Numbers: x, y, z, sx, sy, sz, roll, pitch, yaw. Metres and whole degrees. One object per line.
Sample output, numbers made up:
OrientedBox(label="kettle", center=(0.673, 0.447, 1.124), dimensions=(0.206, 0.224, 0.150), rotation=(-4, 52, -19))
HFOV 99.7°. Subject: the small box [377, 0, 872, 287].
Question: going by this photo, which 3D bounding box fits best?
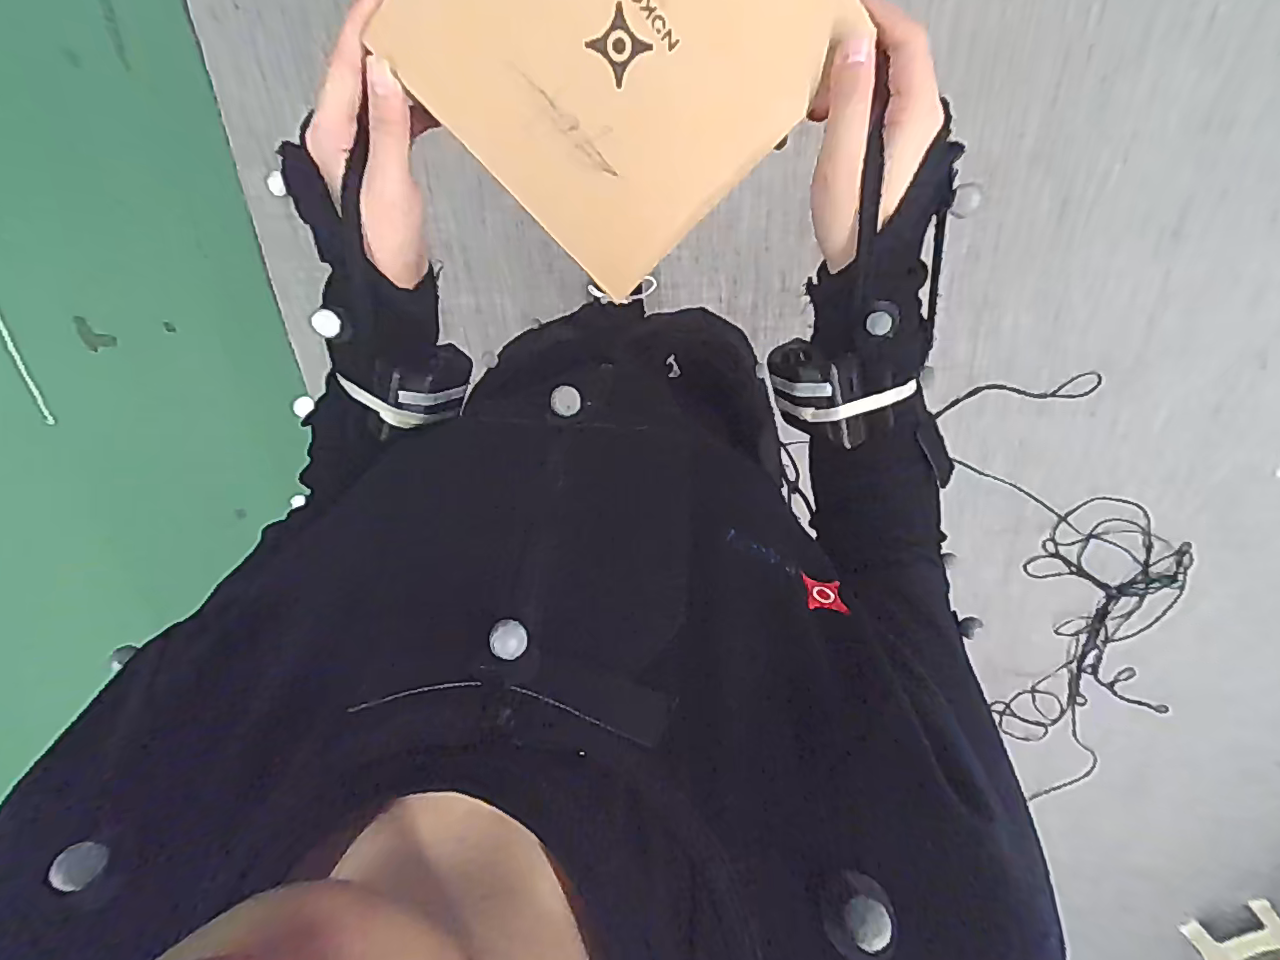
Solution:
OrientedBox(label="small box", center=(-0.009, -0.251, 0.319), dimensions=(0.179, 0.176, 0.168), rotation=(-40, 114, 20))
